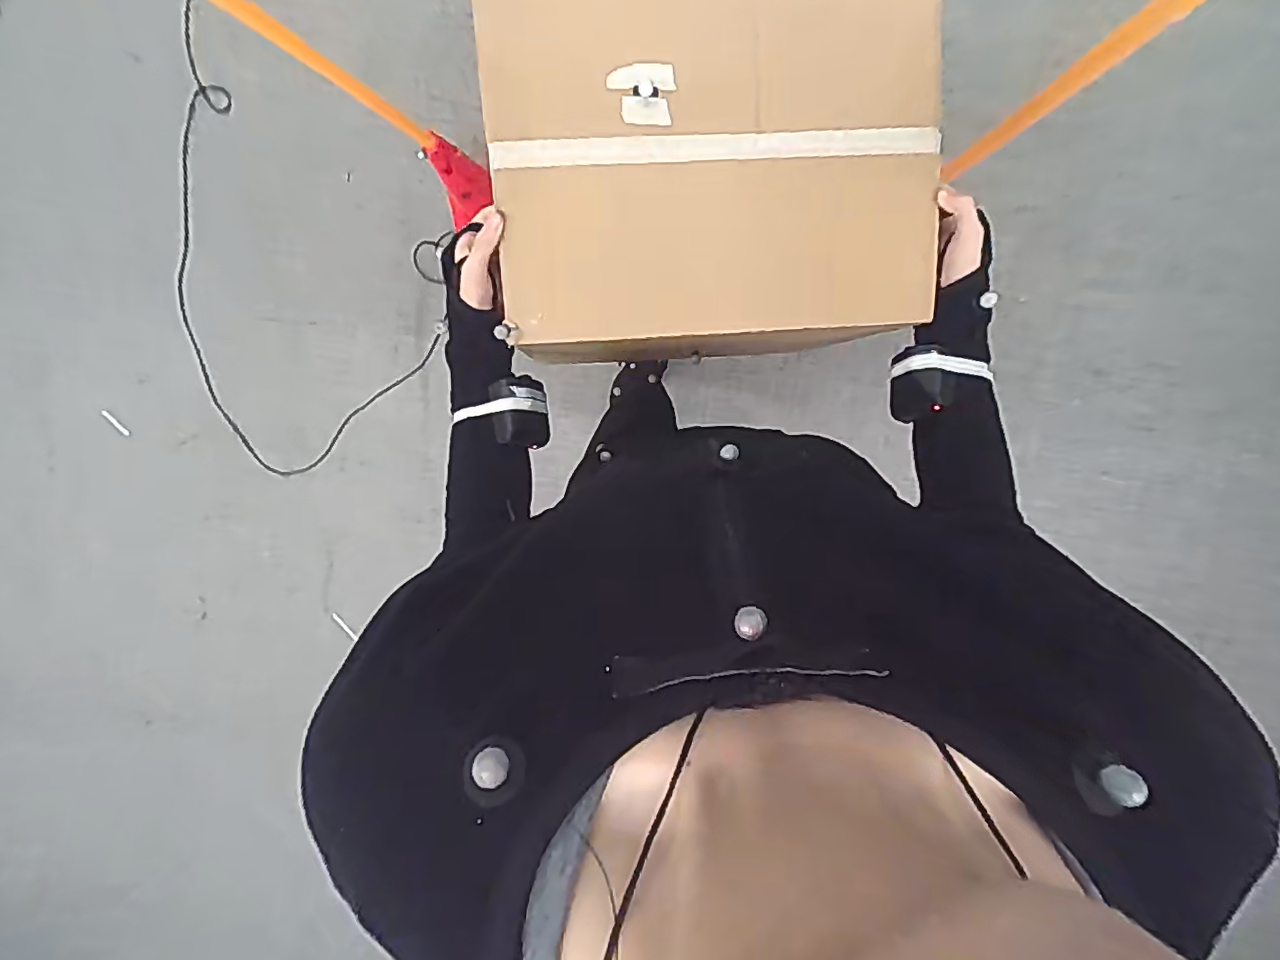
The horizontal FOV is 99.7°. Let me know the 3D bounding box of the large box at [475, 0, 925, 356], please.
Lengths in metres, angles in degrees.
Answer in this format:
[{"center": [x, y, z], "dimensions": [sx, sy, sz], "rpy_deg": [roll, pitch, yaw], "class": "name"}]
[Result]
[{"center": [0.057, -0.322, 0.639], "dimensions": [0.408, 0.320, 0.320], "rpy_deg": [-4, 99, -3], "class": "large box"}]
